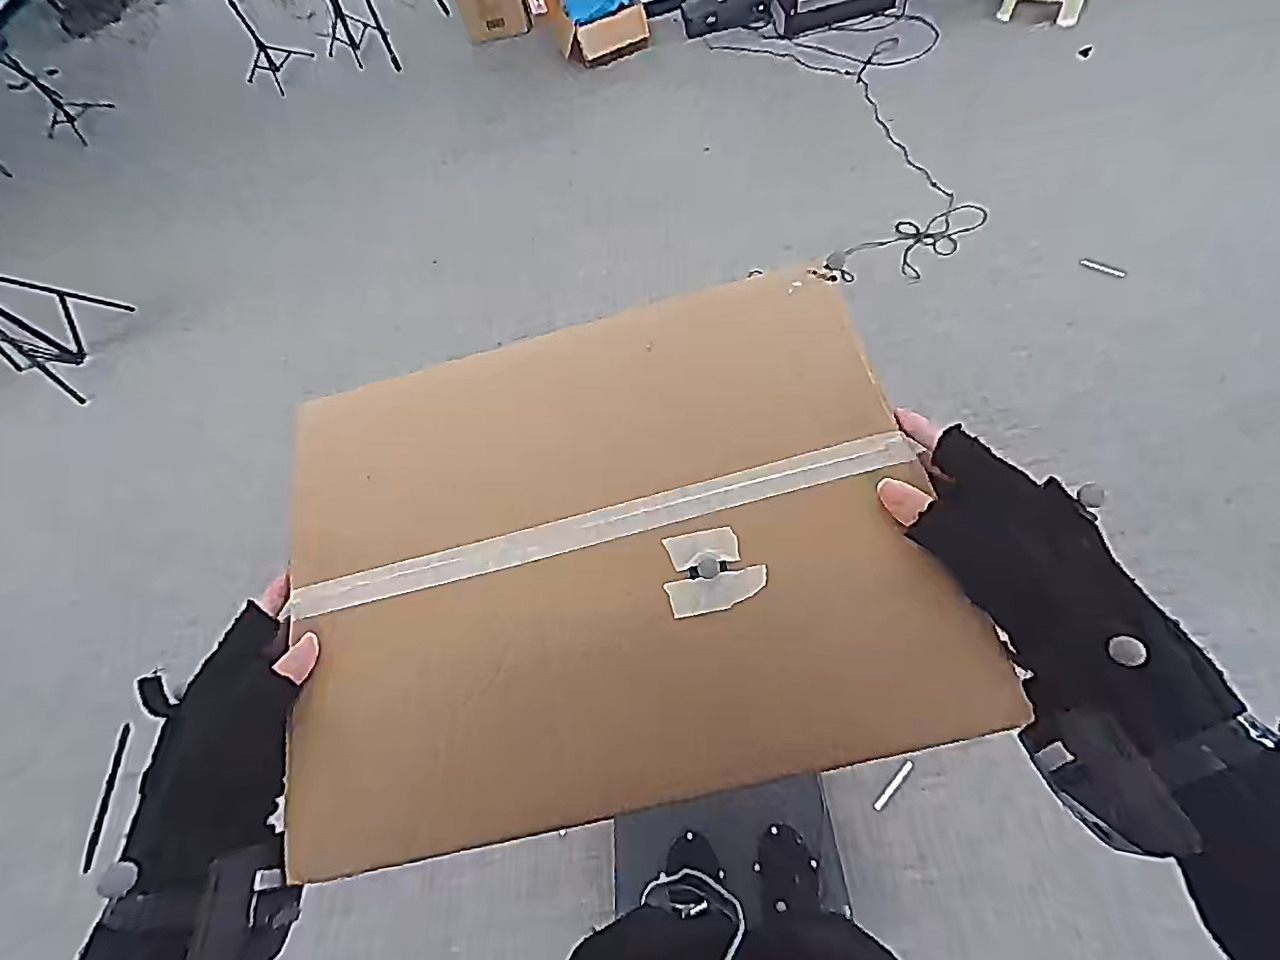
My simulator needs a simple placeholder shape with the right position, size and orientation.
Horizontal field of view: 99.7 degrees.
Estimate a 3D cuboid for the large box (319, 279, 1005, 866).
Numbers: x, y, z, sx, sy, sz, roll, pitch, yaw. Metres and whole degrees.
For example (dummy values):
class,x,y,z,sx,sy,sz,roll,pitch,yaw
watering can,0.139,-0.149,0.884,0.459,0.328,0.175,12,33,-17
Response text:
class,x,y,z,sx,sy,sz,roll,pitch,yaw
large box,-0.004,0.090,0.494,0.408,0.320,0.320,-15,68,3
